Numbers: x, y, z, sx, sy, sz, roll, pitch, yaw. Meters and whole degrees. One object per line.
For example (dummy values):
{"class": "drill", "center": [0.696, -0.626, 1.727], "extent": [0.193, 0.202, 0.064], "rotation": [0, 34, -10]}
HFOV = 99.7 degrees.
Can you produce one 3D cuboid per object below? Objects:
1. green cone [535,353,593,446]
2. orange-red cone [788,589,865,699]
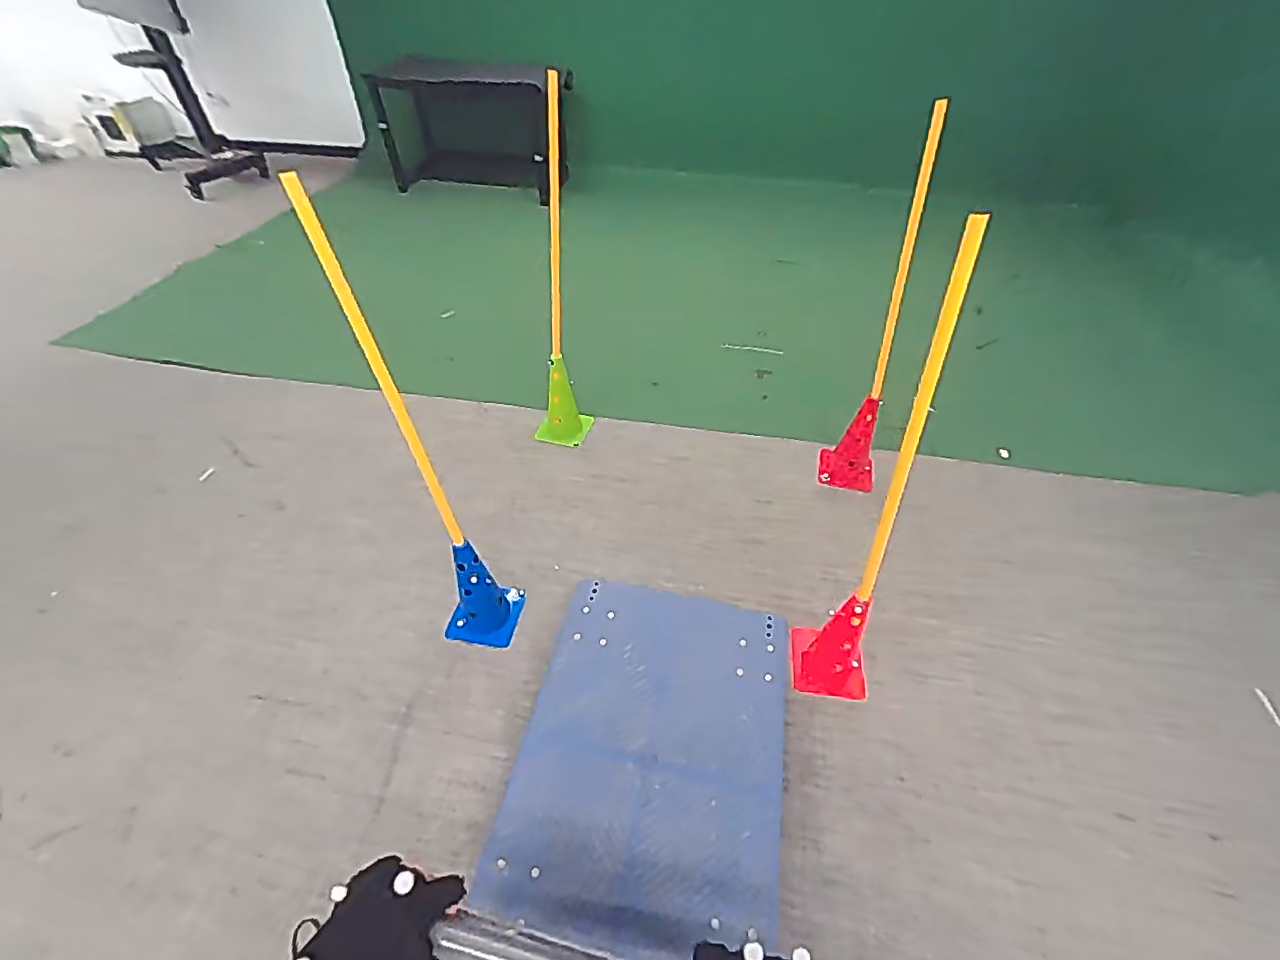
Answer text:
{"class": "green cone", "center": [-0.315, -0.337, 2.131], "extent": [0.202, 0.368, 0.200], "rotation": [11, 46, 10]}
{"class": "orange-red cone", "center": [0.527, 0.405, 1.436], "extent": [0.199, 0.360, 0.198], "rotation": [6, 46, 7]}
